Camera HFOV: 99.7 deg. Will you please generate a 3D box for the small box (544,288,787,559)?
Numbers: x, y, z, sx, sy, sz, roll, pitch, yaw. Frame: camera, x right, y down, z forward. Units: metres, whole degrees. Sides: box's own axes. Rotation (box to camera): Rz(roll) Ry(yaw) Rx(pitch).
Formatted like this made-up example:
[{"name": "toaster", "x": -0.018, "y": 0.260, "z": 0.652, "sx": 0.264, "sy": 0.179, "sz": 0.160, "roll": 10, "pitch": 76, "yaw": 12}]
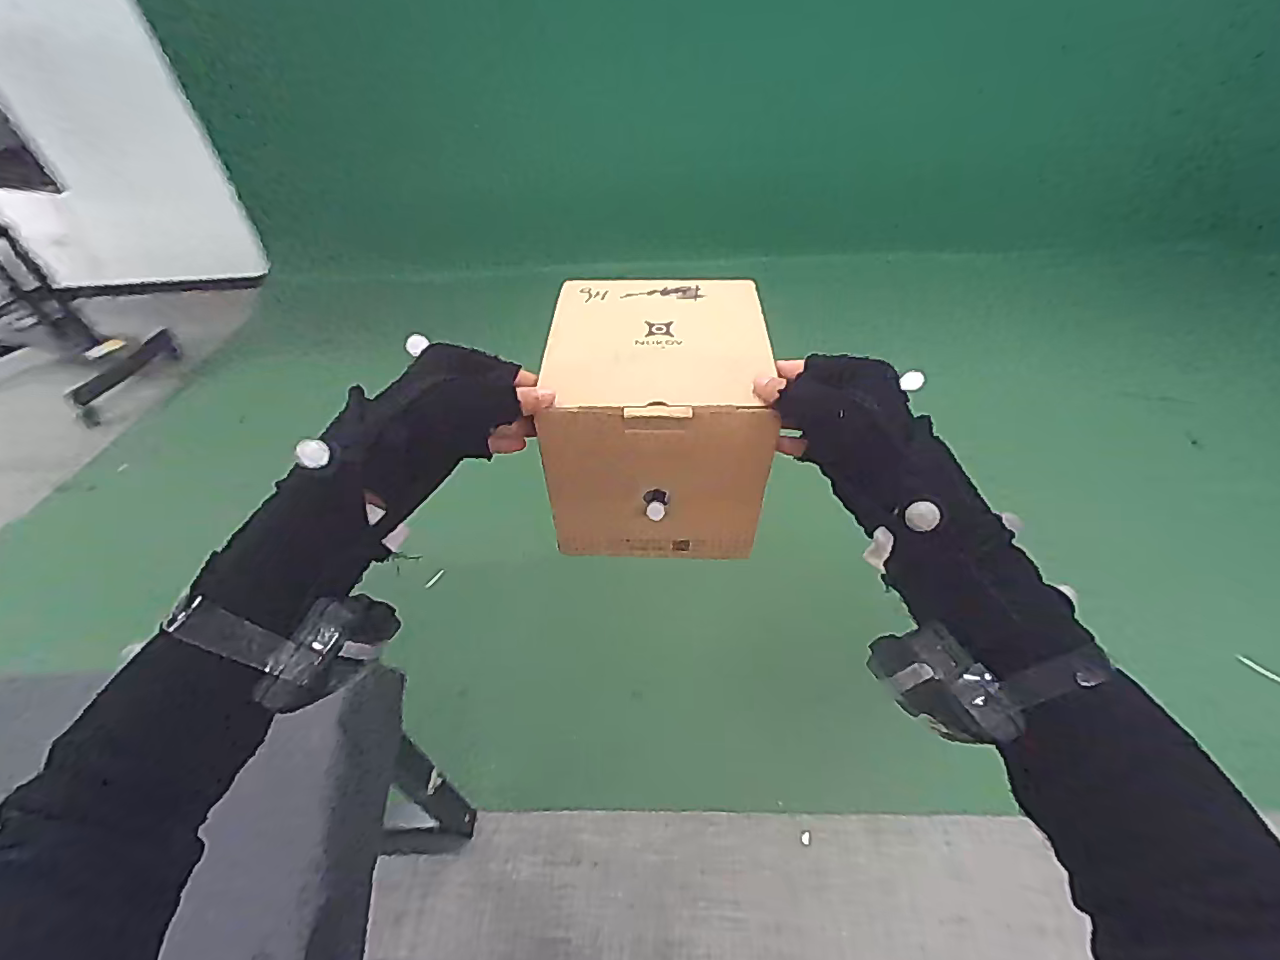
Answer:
[{"name": "small box", "x": 0.023, "y": -0.047, "z": 0.470, "sx": 0.168, "sy": 0.176, "sz": 0.179, "roll": 1, "pitch": 47, "yaw": 3}]
